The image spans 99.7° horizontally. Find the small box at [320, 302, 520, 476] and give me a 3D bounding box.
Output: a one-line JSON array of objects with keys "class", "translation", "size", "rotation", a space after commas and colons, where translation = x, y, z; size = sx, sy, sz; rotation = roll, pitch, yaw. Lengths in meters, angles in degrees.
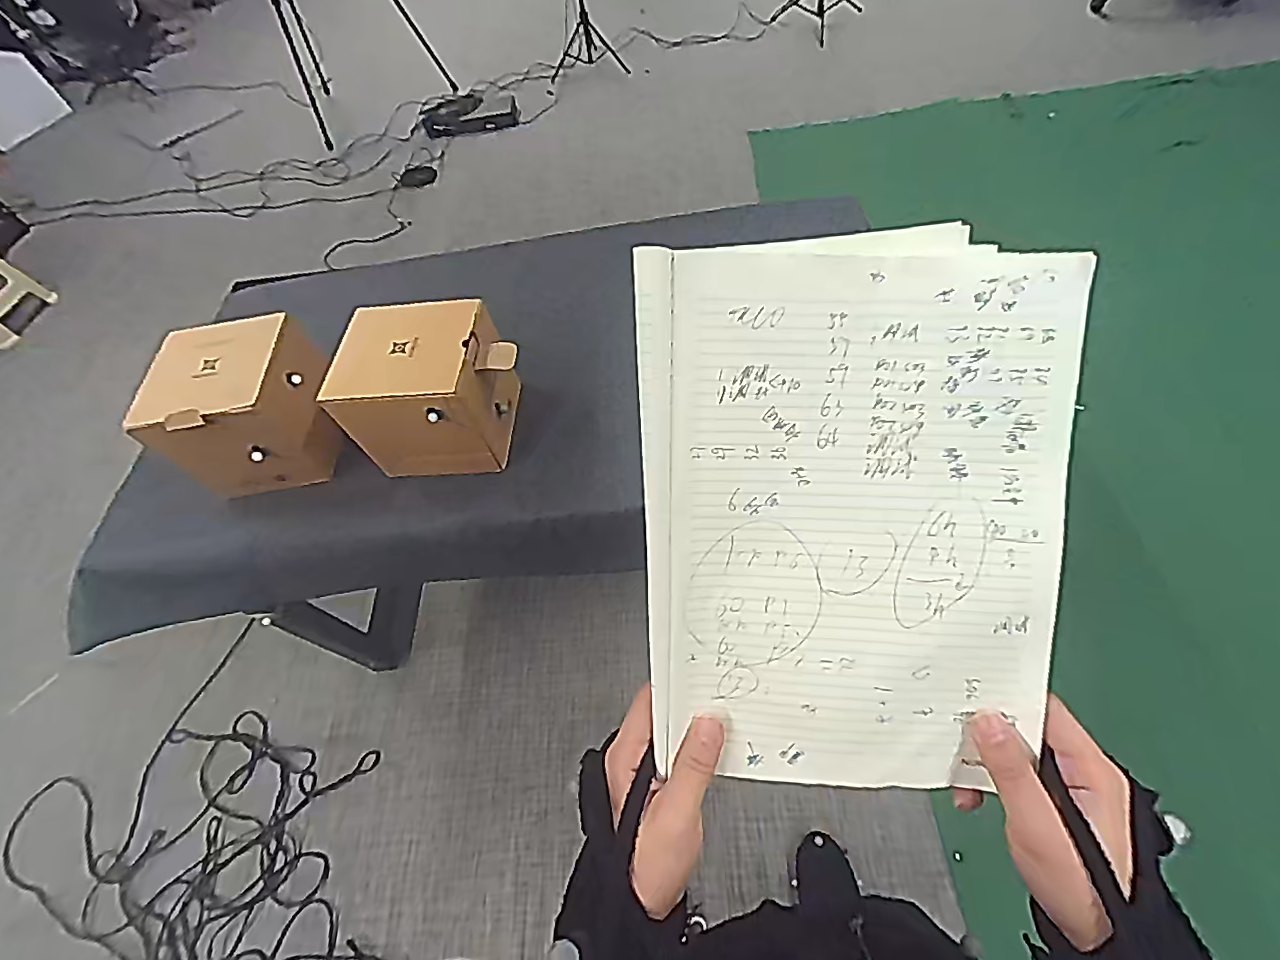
[{"class": "small box", "translation": [-0.282, -0.116, 0.738], "size": [0.179, 0.176, 0.168], "rotation": [-2, 56, 6]}]

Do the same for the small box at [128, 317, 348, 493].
[{"class": "small box", "translation": [-0.539, -0.096, 0.761], "size": [0.168, 0.176, 0.179], "rotation": [-9, 55, 0]}]
